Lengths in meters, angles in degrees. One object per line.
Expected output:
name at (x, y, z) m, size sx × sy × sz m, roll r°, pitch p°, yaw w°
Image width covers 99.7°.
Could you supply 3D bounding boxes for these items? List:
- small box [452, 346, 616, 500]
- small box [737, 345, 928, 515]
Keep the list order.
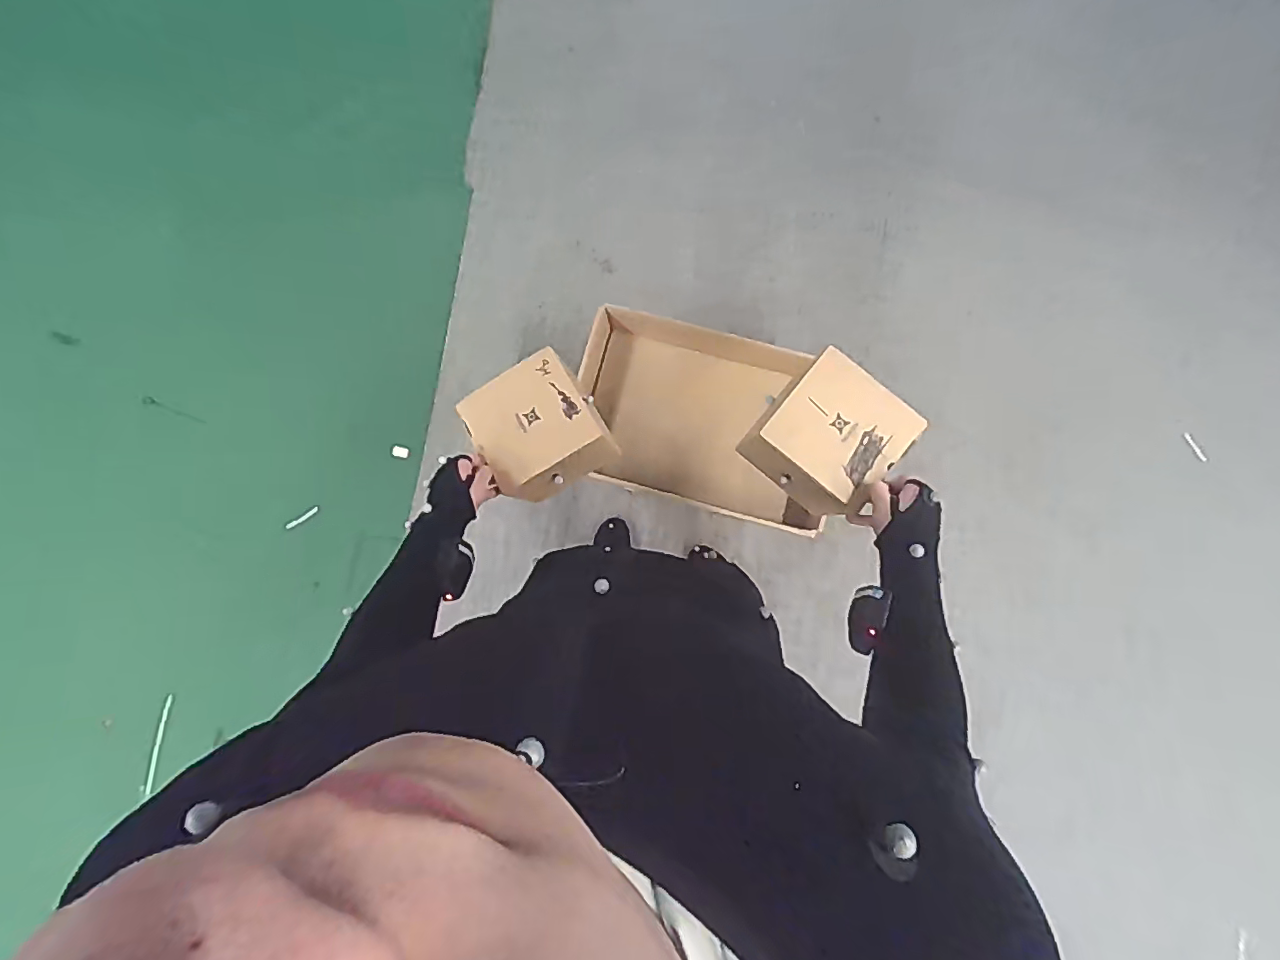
small box at (-0.159, -0.079, 0.869) m, size 0.179 × 0.176 × 0.168 m, roll -31°, pitch 81°, yaw 3°
small box at (0.272, -0.065, 0.807) m, size 0.179 × 0.176 × 0.168 m, roll 39°, pitch 86°, yaw 1°
